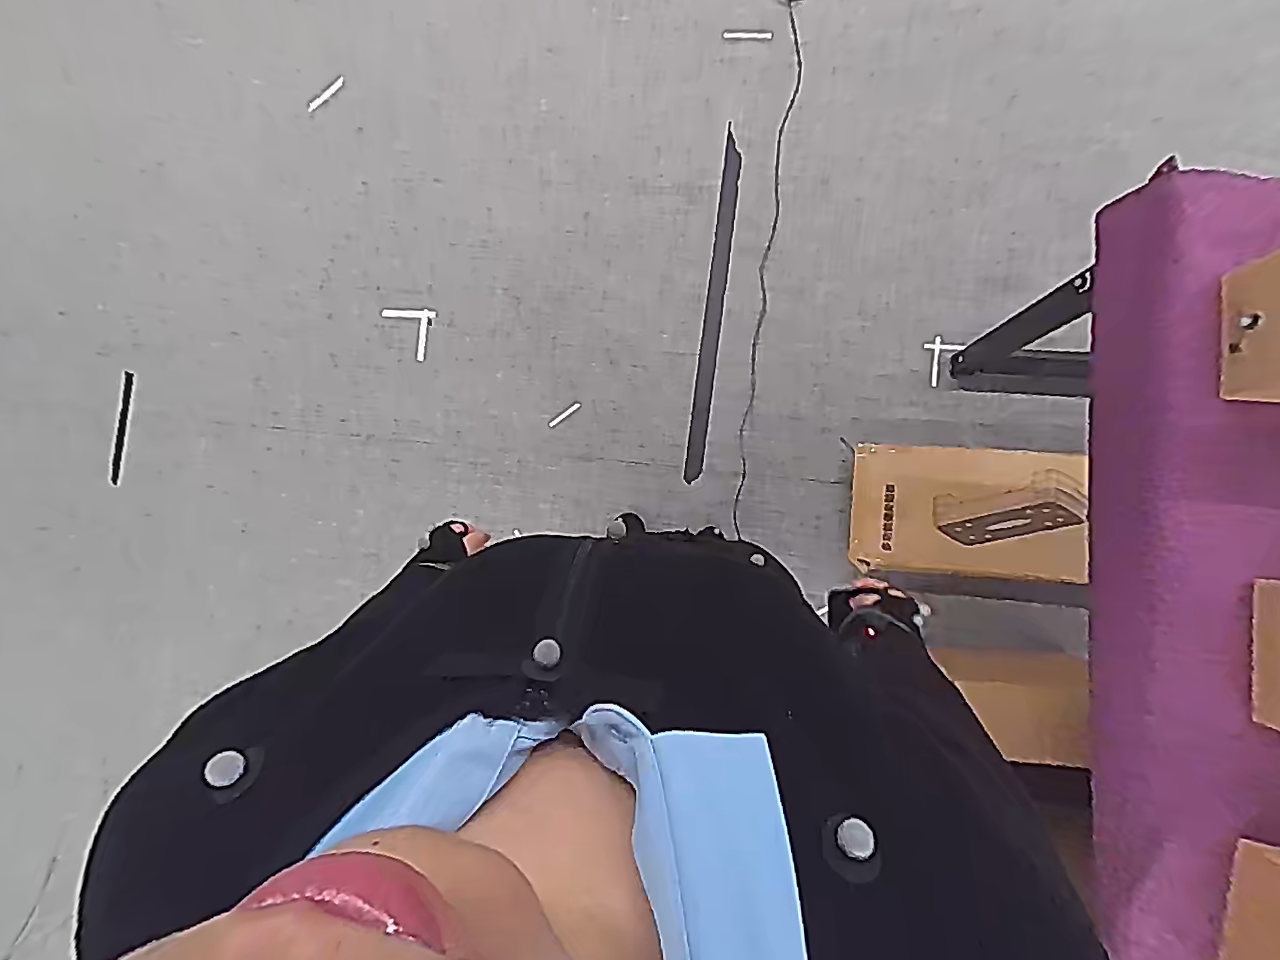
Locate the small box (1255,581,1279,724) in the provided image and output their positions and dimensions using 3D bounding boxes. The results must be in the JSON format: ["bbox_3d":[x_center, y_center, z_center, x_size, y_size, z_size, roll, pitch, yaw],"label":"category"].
[{"bbox_3d":[0.825,0.211,0.574,0.168,0.176,0.179,4,87,5],"label":"small box"}]

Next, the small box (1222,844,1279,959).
[{"bbox_3d":[0.775,0.526,0.560,0.168,0.176,0.179,11,88,8],"label":"small box"}]
